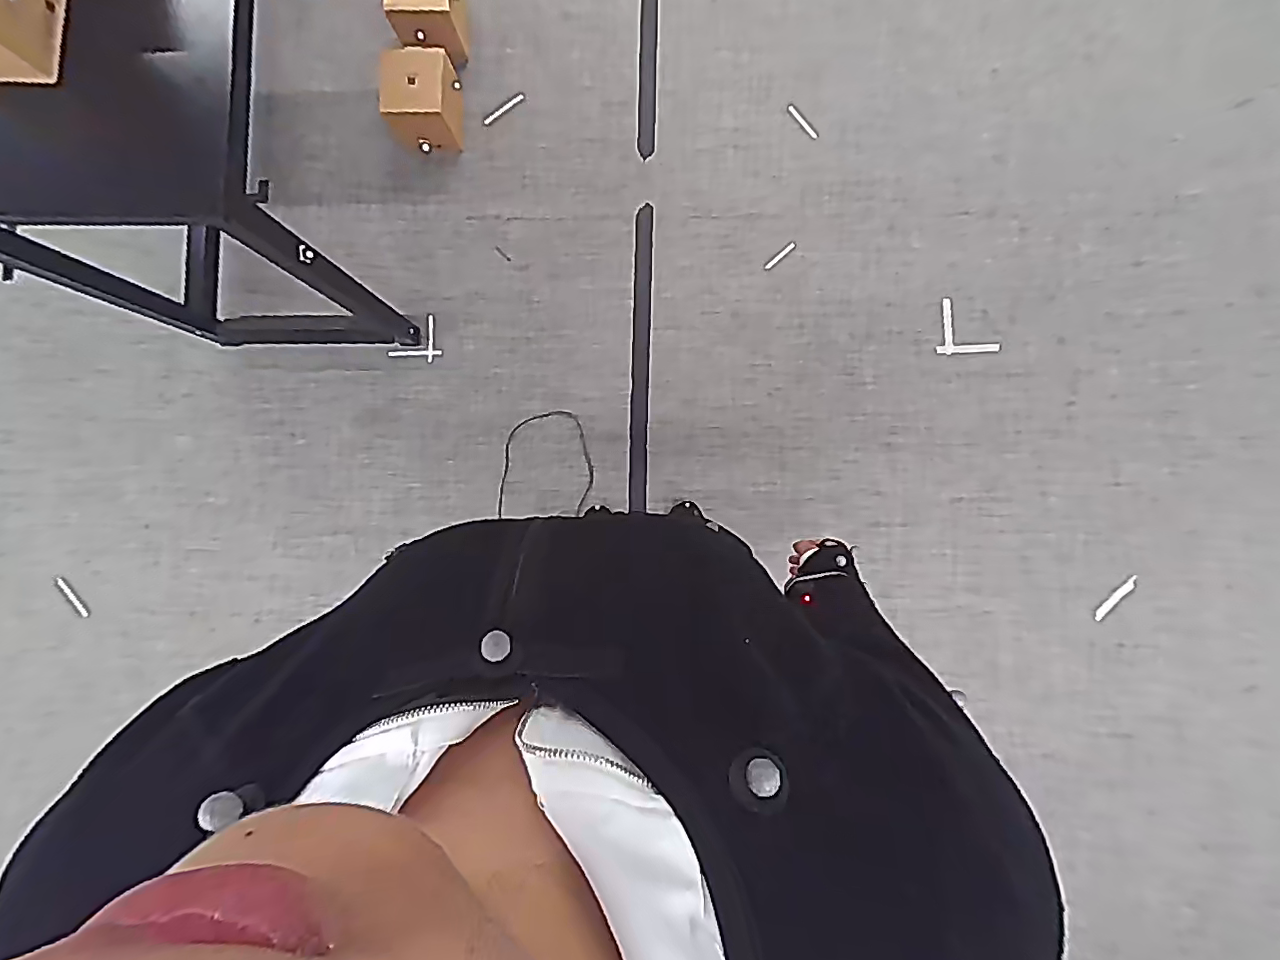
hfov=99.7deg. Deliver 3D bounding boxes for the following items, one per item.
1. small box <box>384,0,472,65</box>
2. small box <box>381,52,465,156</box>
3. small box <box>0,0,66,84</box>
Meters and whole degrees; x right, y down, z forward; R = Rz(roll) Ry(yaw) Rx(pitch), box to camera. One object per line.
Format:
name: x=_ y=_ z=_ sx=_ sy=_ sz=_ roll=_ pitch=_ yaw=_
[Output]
small box: x=-0.584 y=-1.293 z=1.500 sx=0.179 sy=0.176 sz=0.168 roll=0 pitch=88 yaw=2
small box: x=-0.592 y=-1.031 z=1.492 sx=0.168 sy=0.176 sz=0.179 roll=0 pitch=88 yaw=2
small box: x=-0.972 y=-0.694 z=0.754 sx=0.179 sy=0.176 sz=0.168 roll=4 pitch=87 yaw=2
